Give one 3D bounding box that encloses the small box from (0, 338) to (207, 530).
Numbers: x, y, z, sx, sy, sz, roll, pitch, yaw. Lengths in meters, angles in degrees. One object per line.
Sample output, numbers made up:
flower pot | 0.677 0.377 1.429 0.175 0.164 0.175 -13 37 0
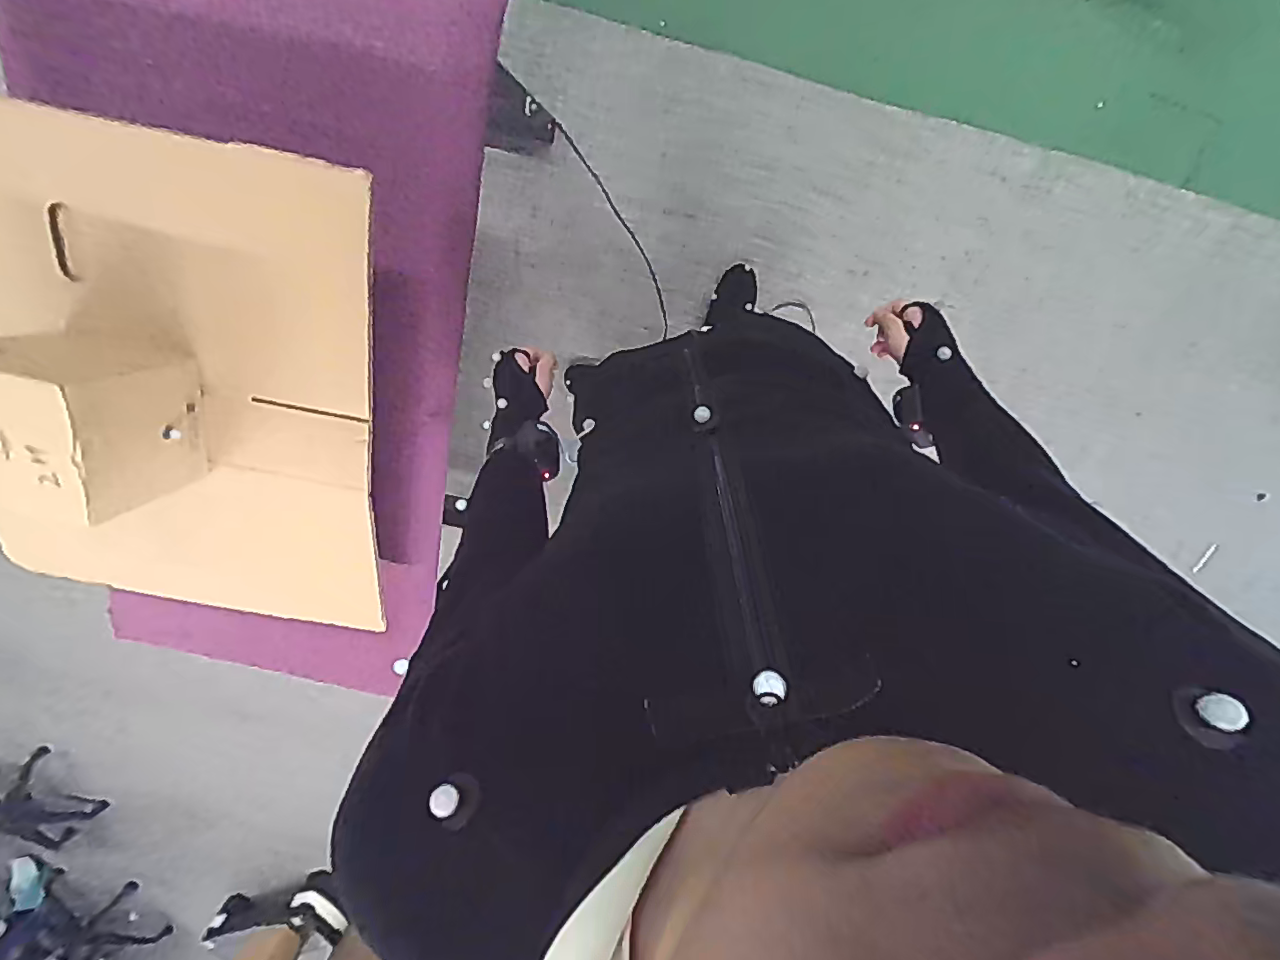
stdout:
small box | -0.665 -0.065 0.637 0.179 0.176 0.168 12 111 -2
